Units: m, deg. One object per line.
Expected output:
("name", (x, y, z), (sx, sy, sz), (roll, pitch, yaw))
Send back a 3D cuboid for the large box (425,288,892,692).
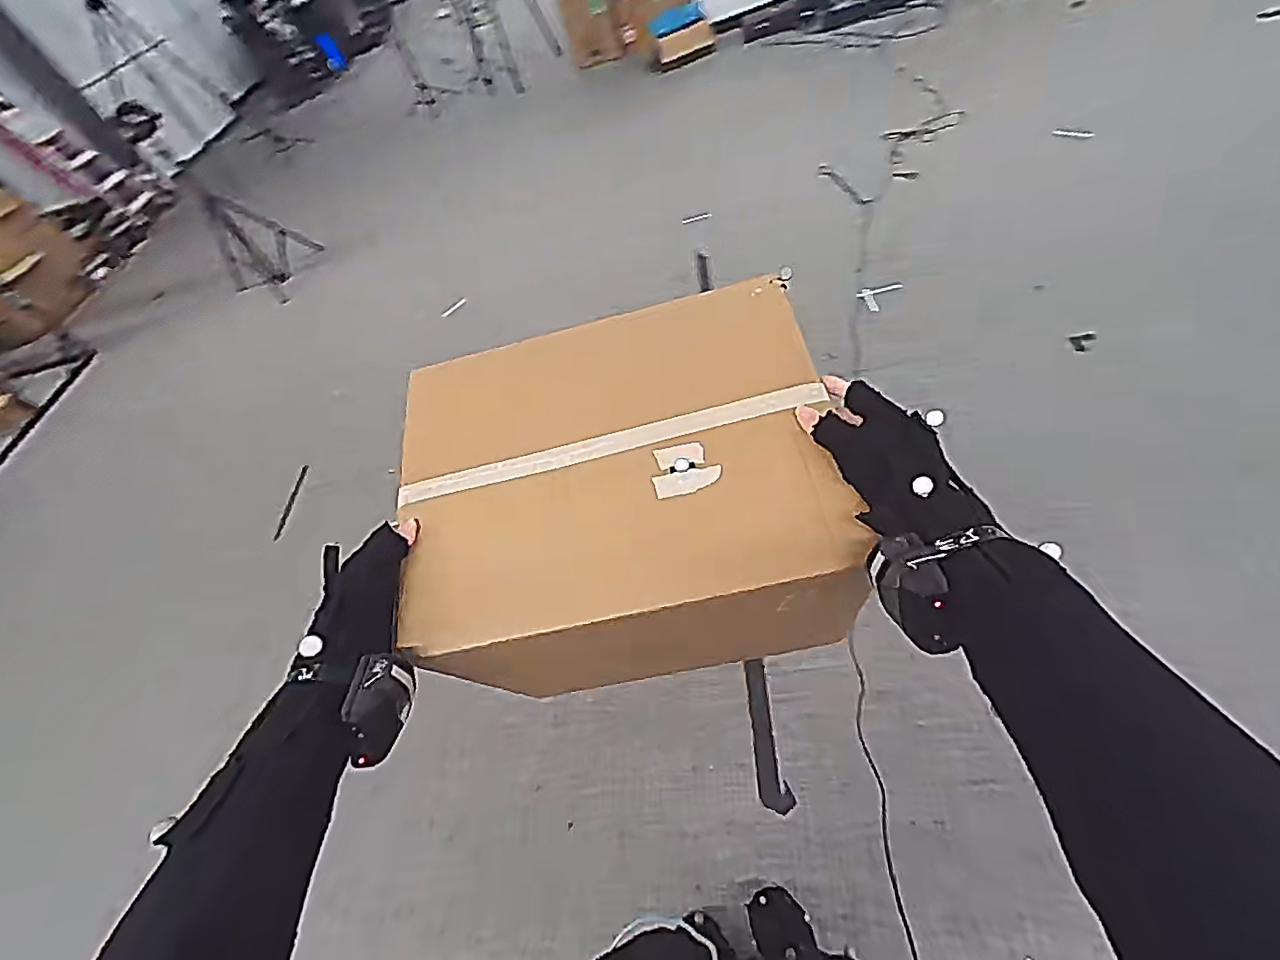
("large box", (0.014, 0.040, 0.642), (0.408, 0.320, 0.320), (-12, 61, 6))
